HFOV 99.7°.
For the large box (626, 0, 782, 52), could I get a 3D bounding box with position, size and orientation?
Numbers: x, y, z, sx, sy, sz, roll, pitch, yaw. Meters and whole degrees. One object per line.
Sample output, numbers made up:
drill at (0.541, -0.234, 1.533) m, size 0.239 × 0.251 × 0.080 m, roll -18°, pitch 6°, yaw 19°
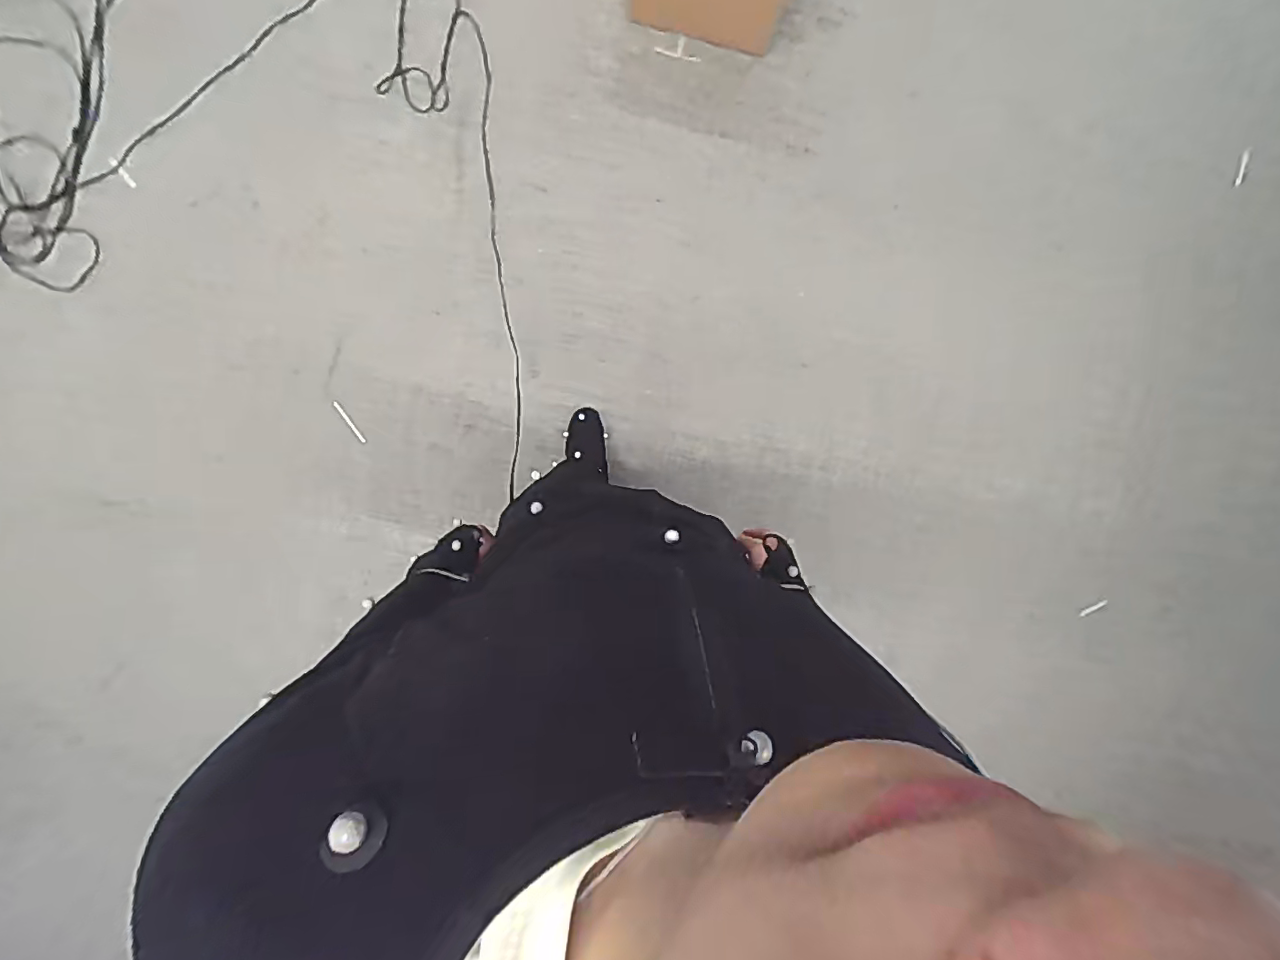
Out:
large box at (0.188, -1.393, 1.380) m, size 0.408 × 0.320 × 0.320 m, roll 10°, pitch 95°, yaw -5°
